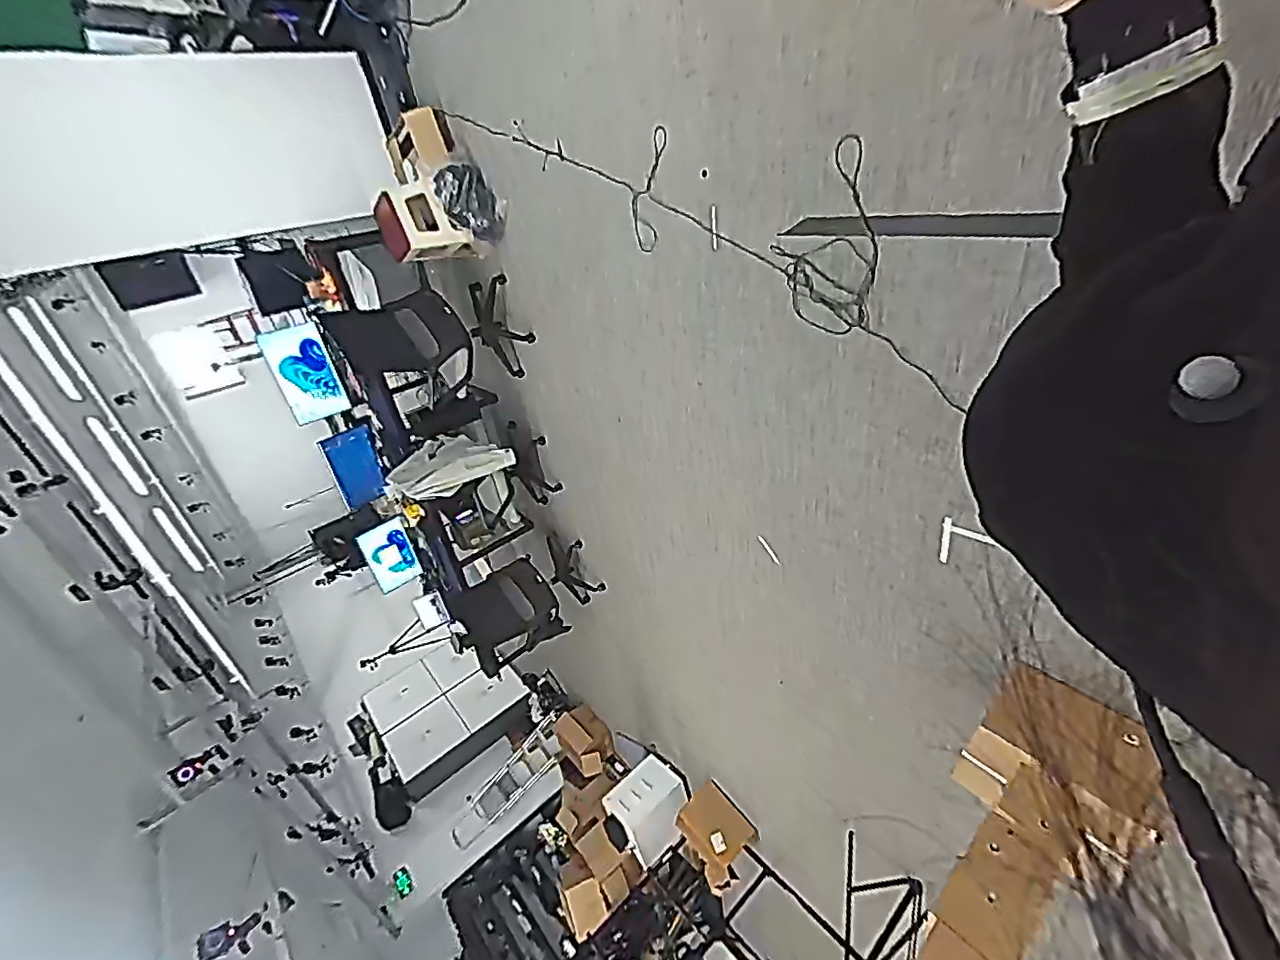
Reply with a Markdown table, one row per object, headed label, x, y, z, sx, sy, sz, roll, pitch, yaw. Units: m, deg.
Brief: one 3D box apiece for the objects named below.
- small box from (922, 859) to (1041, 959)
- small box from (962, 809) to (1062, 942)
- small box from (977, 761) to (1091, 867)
| label | x | y | z | sx | sy | sz | roll | pitch | yaw |
| --- | --- | --- | --- | --- | --- | --- | --- | --- | --- |
| small box | 0.801 | 1.044 | 1.276 | 0.179 | 0.176 | 0.168 | 25 | 135 | 45 |
| small box | 0.928 | 0.979 | 1.356 | 0.168 | 0.176 | 0.179 | 18 | 131 | 49 |
| small box | 1.044 | 0.894 | 1.433 | 0.179 | 0.176 | 0.168 | 33 | 140 | 38 |
